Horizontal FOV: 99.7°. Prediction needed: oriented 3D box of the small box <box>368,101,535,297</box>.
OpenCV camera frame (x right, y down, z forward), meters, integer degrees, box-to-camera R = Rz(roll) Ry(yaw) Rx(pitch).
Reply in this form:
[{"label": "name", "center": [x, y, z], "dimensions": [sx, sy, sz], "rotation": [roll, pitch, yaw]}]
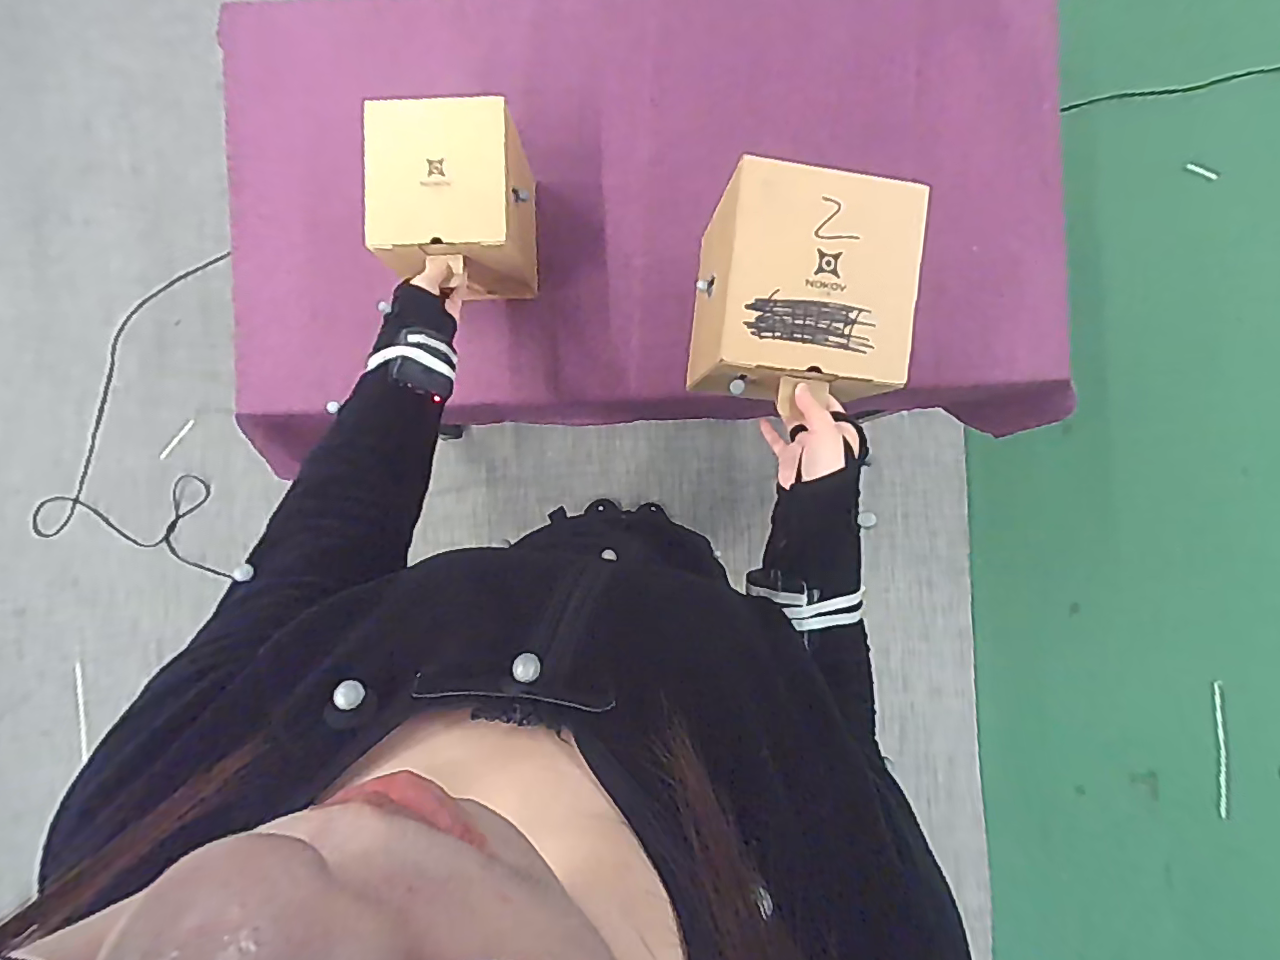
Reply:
[{"label": "small box", "center": [-0.237, -0.360, 0.717], "dimensions": [0.168, 0.176, 0.179], "rotation": [-1, 88, 1]}]
